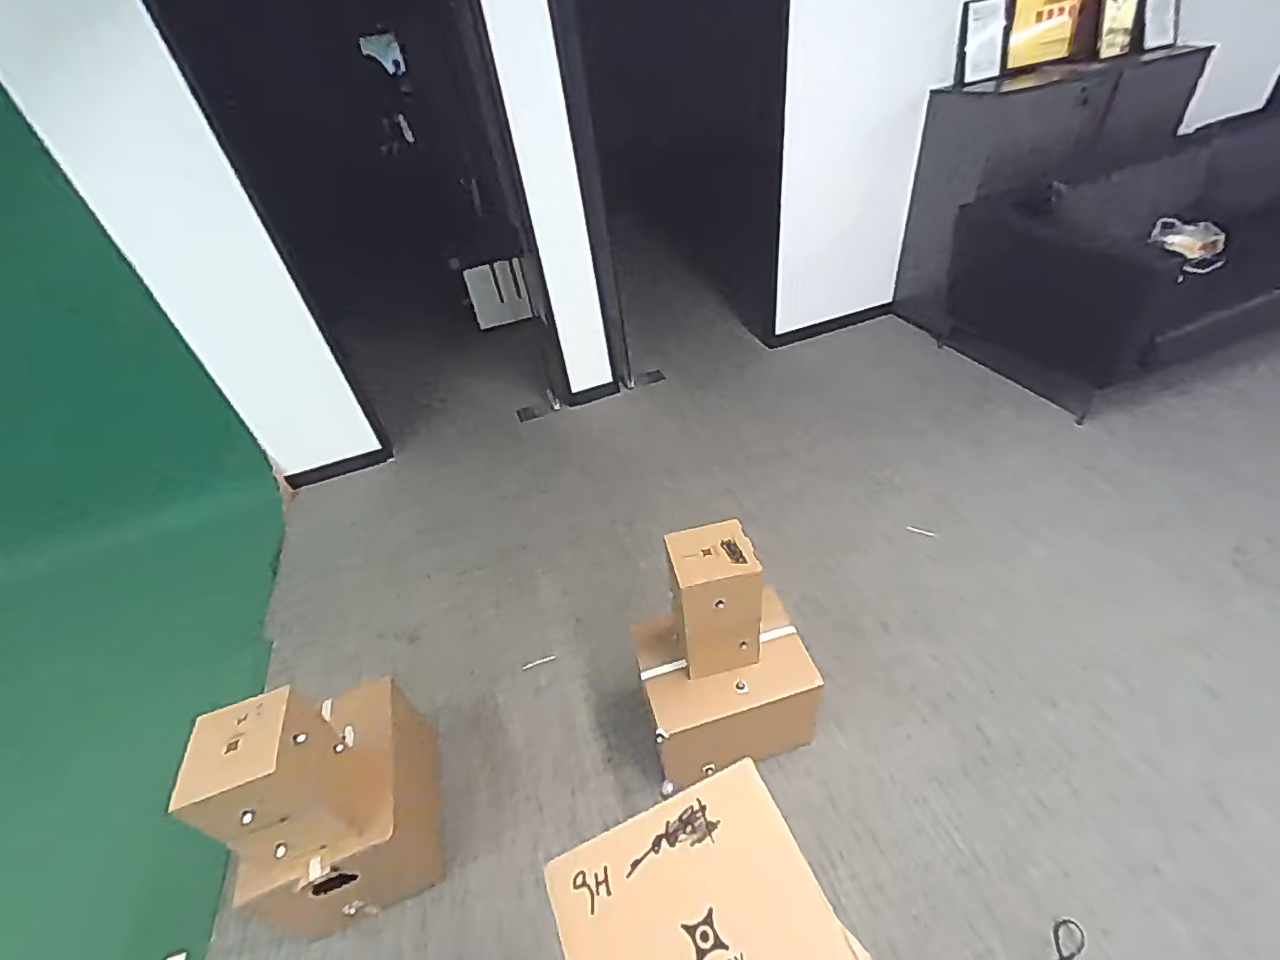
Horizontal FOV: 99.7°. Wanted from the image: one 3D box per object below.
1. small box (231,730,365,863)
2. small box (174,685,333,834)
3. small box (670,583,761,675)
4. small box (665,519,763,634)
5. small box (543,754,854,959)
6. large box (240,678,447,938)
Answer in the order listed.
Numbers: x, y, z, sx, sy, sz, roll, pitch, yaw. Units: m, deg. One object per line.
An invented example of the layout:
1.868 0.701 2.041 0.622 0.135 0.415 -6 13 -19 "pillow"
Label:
-0.684 0.649 1.108 0.168 0.176 0.179 -18 40 -10 "small box"
-0.696 0.523 1.002 0.168 0.176 0.179 -17 40 -10 "small box"
0.179 0.341 1.308 0.179 0.176 0.168 -13 38 -4 "small box"
0.162 0.215 1.203 0.179 0.176 0.168 -12 38 -3 "small box"
0.043 0.340 0.400 0.168 0.176 0.179 -20 53 -14 "small box"
-0.696 0.788 1.326 0.320 0.320 0.408 -19 40 -12 "large box"
